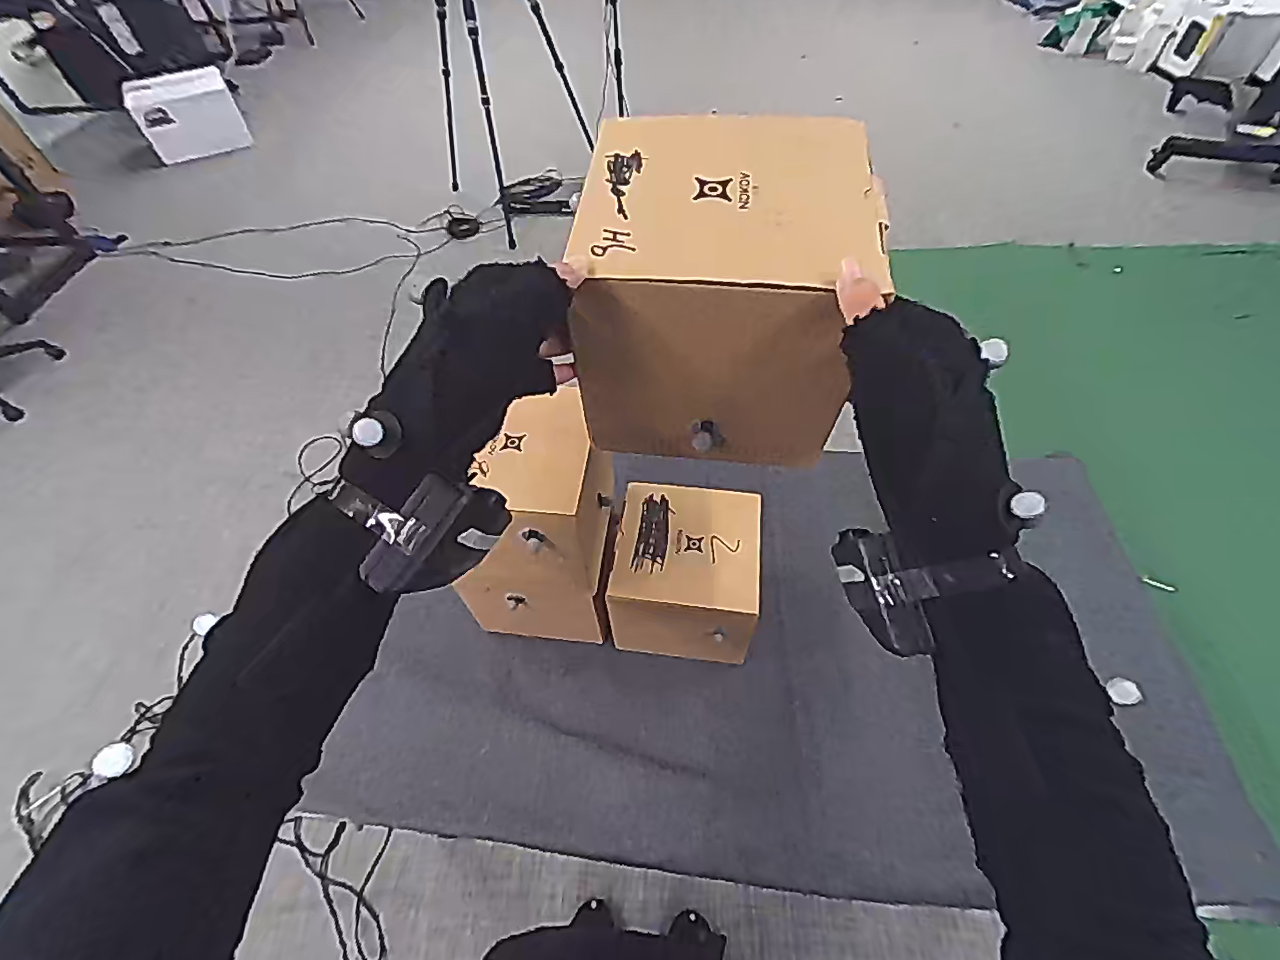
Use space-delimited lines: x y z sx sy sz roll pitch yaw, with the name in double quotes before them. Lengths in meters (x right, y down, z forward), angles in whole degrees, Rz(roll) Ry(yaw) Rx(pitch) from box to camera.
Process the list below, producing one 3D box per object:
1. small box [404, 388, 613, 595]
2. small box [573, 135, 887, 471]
"small box" -0.128 0.018 0.615 0.179 0.176 0.168 4 52 5
"small box" 0.057 -0.122 0.404 0.179 0.176 0.168 6 57 3
